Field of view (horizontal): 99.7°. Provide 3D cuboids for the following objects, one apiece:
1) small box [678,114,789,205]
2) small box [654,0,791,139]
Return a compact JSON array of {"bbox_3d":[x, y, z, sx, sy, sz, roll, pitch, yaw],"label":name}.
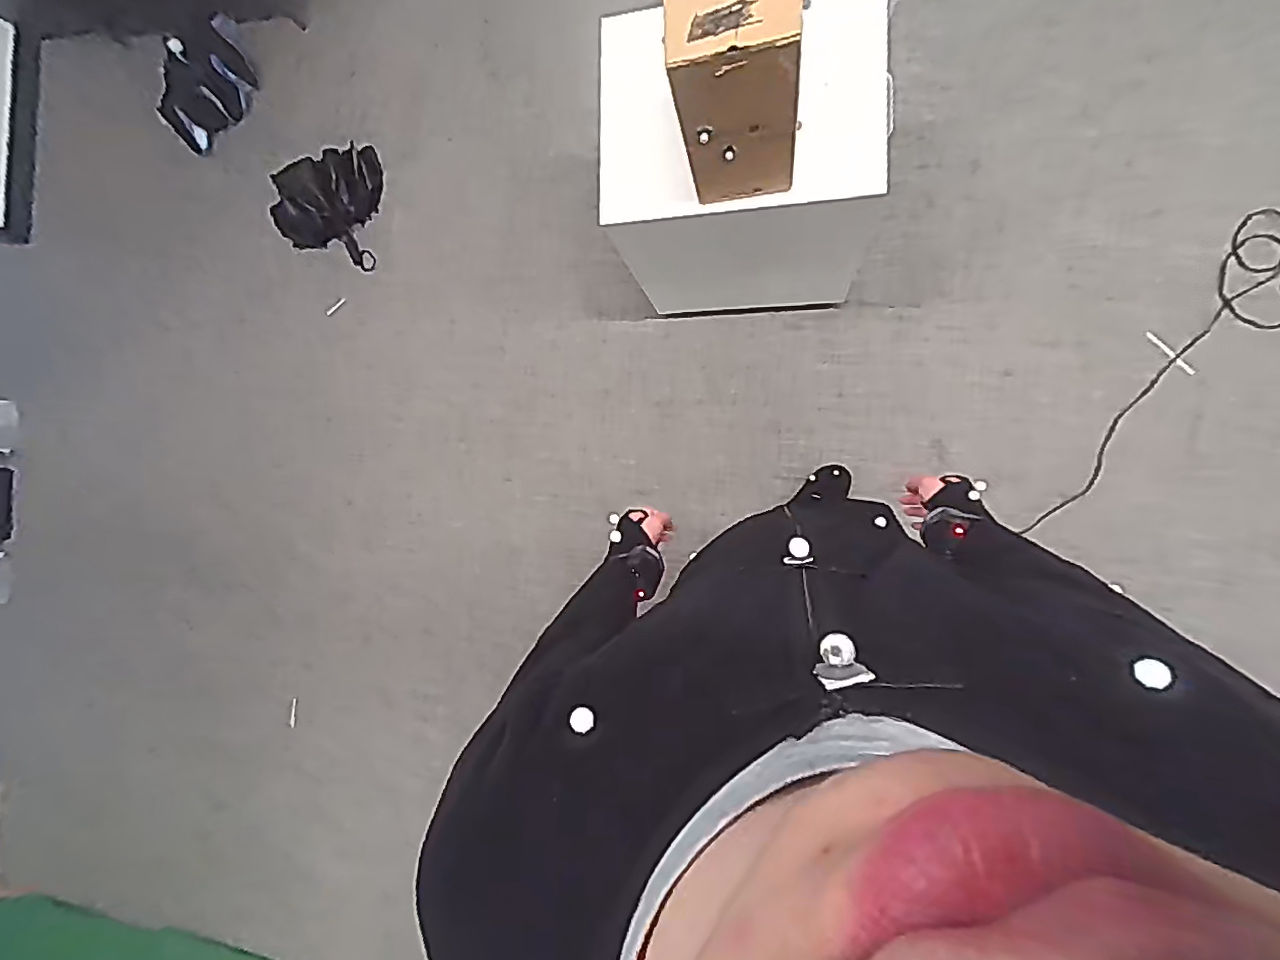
[{"bbox_3d":[0.152,-0.590,0.887,0.168,0.176,0.179,-4,87,14],"label":"small box"},{"bbox_3d":[0.114,-0.594,0.726,0.168,0.176,0.179,-3,87,13],"label":"small box"}]
